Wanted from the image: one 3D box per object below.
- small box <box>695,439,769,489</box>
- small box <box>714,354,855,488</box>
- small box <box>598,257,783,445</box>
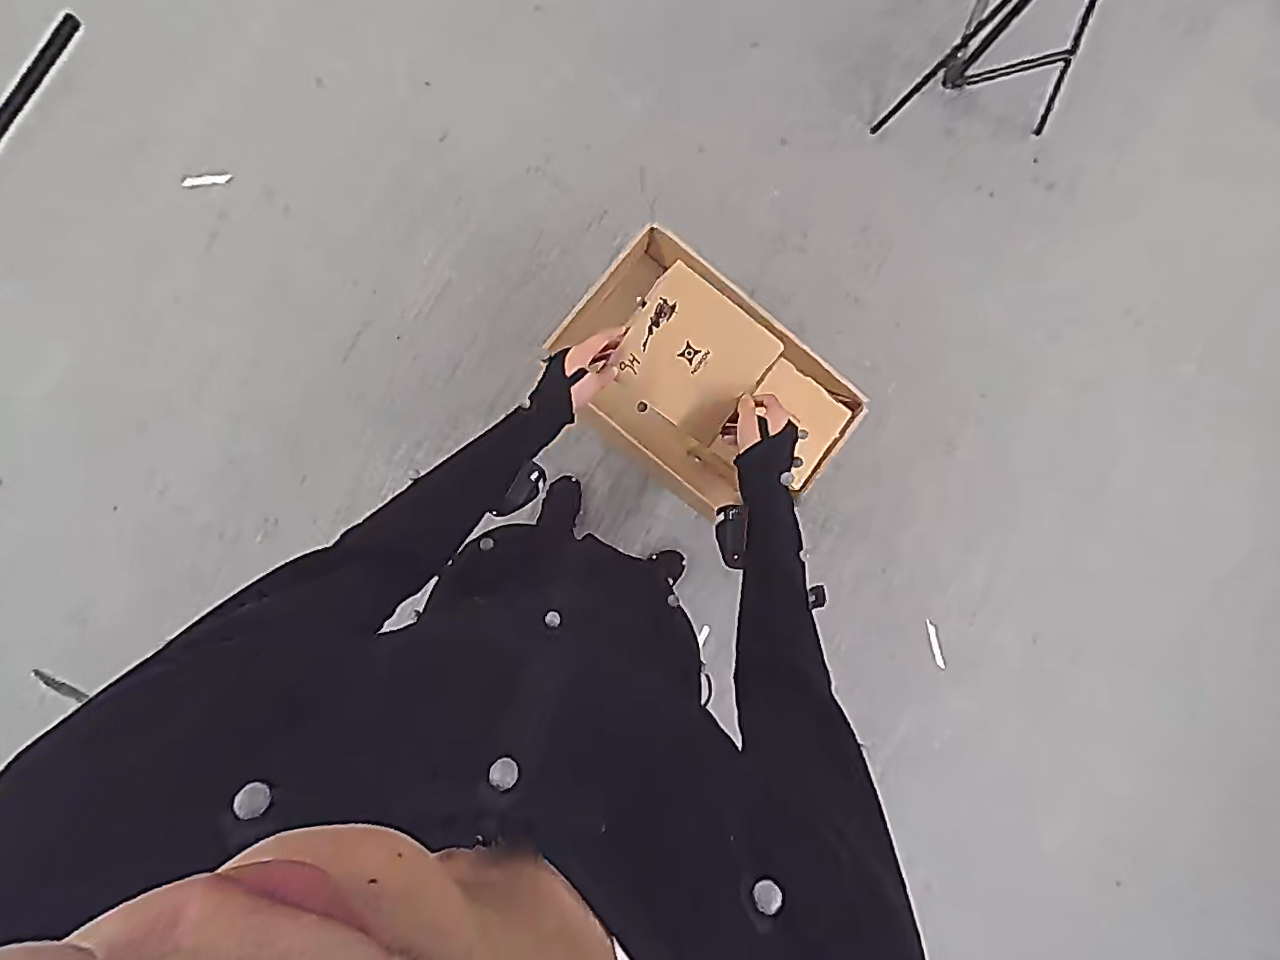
[{"bbox_3d":[0.235,-0.094,1.169,0.168,0.176,0.179,36,85,-4],"label":"small box"},{"bbox_3d":[0.254,-0.099,1.008,0.168,0.176,0.179,37,84,-4],"label":"small box"},{"bbox_3d":[0.057,-0.176,0.743,0.179,0.176,0.168,34,99,-13],"label":"small box"}]
